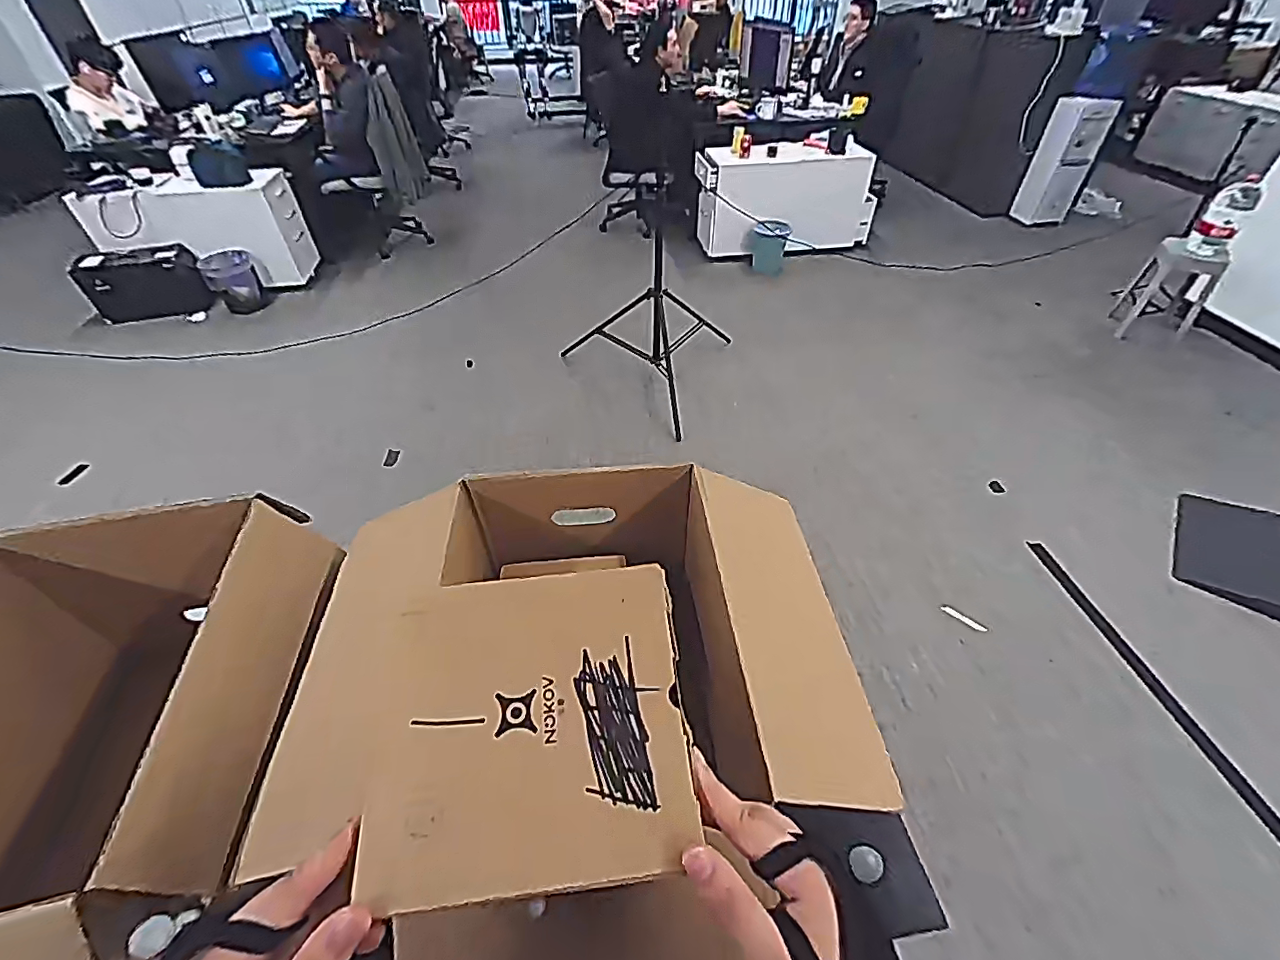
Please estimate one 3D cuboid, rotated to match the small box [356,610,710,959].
[{"bbox_3d":[-0.061,0.201,0.373,0.179,0.176,0.168,-5,58,-5],"label":"small box"}]
